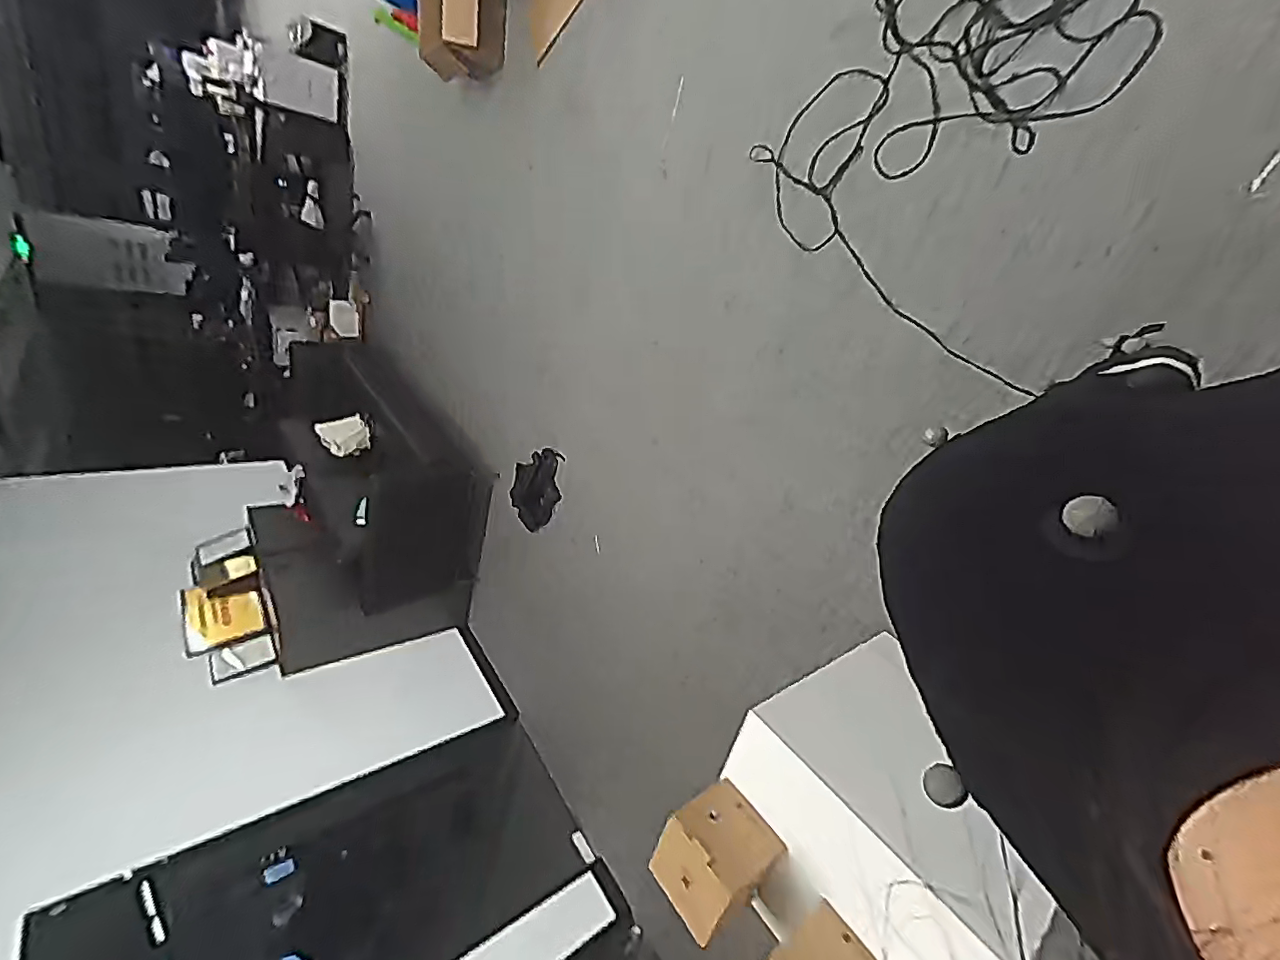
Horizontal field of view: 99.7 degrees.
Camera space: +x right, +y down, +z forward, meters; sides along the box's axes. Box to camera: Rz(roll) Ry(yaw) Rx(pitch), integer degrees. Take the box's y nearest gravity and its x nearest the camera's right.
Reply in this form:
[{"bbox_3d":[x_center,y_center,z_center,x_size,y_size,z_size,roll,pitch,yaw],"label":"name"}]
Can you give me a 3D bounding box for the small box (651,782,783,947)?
[{"bbox_3d":[0.152,0.738,1.058,0.168,0.176,0.179,38,124,41],"label":"small box"}]
